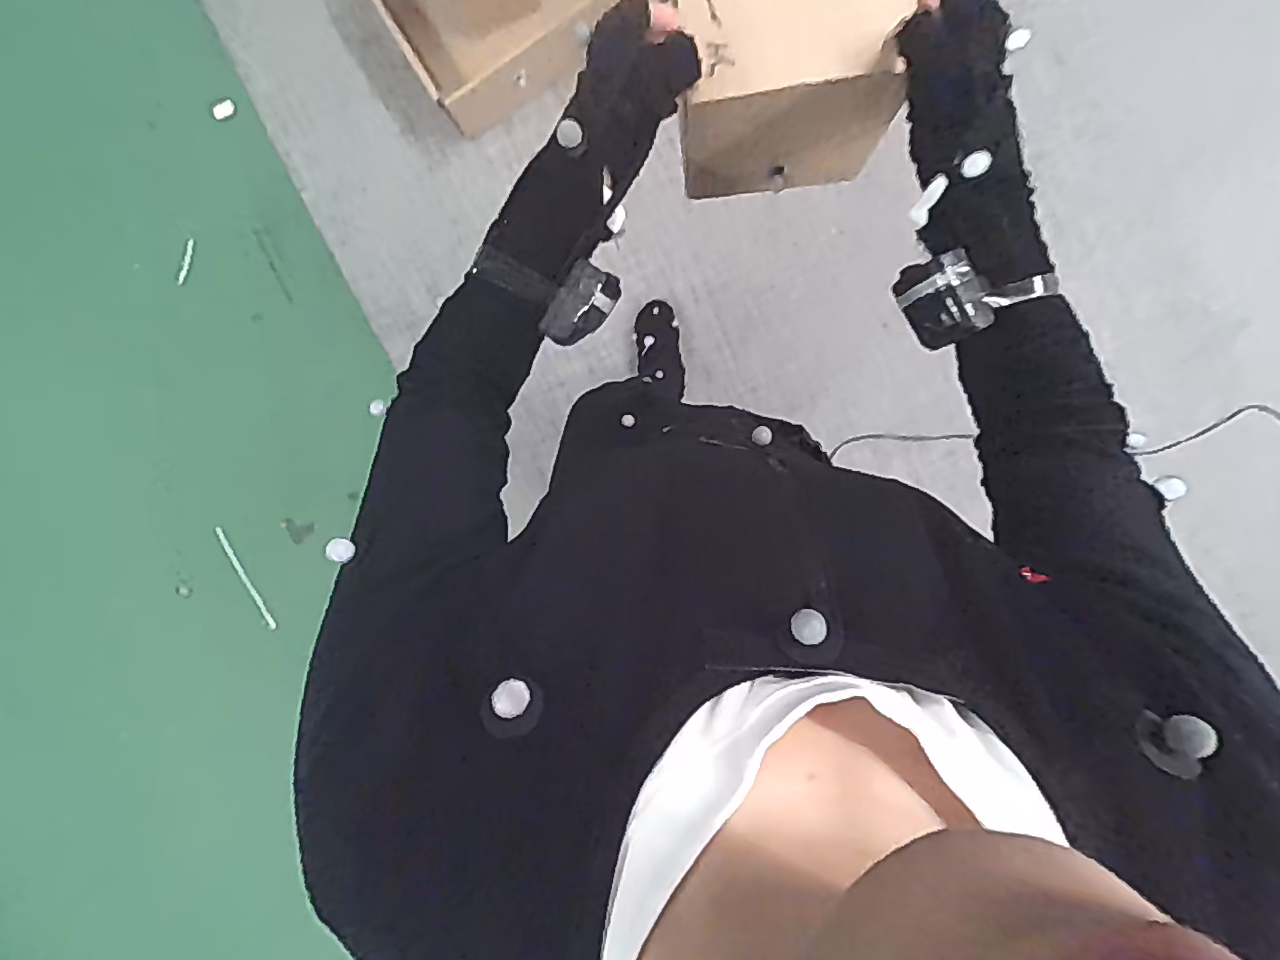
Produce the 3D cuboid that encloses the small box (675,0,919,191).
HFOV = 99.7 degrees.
[{"bbox_3d":[0.122,-0.386,0.483,0.179,0.176,0.168,-5,93,6],"label":"small box"}]

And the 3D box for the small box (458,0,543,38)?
[{"bbox_3d":[-0.324,-1.093,1.139,0.179,0.176,0.168,-25,99,2],"label":"small box"}]
